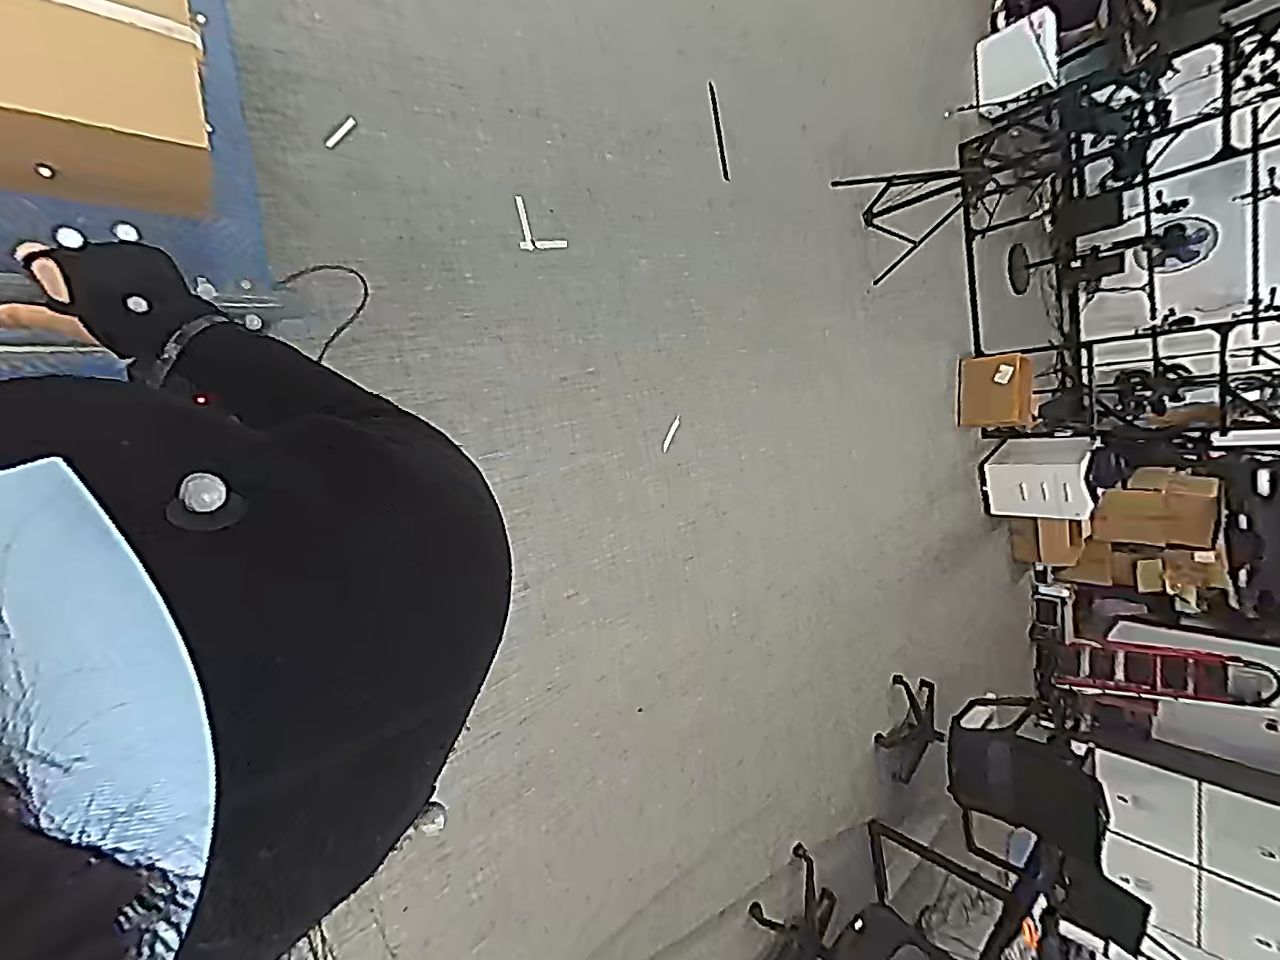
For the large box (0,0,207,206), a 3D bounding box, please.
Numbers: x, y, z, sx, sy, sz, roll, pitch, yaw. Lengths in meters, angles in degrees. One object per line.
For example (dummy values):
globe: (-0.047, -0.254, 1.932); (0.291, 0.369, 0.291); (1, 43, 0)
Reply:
large box: (-0.924, -0.647, 0.803); (0.408, 0.320, 0.320); (-9, 96, -38)
